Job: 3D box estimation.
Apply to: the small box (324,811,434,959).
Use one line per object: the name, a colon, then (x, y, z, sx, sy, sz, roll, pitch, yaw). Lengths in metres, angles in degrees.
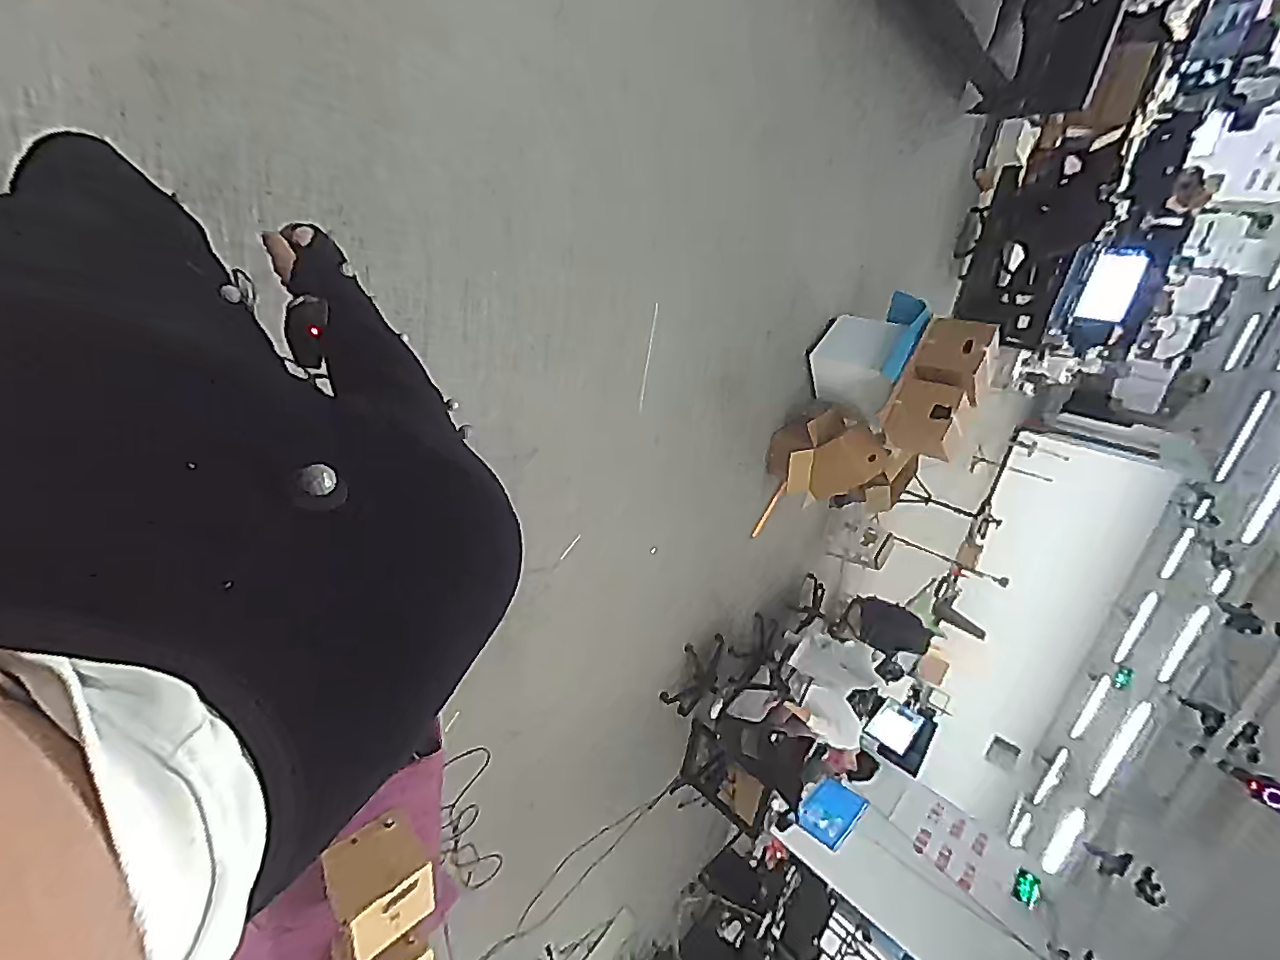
small box: (-0.570, 0.869, 1.182, 0.168, 0.176, 0.179, -18, 125, -43)
